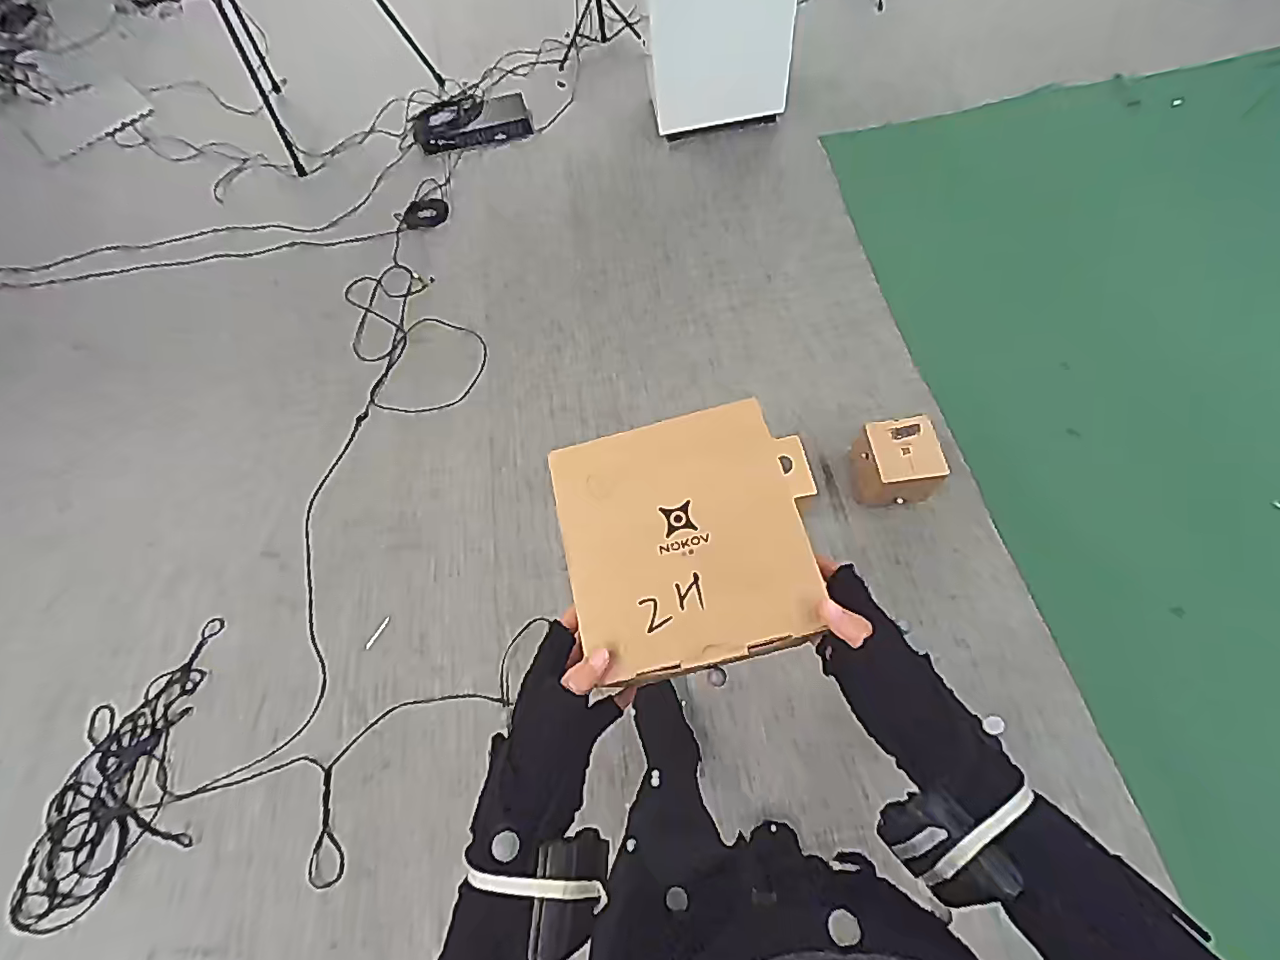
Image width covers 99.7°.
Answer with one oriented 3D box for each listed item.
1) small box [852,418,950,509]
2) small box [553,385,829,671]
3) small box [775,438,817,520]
[{"bbox_3d":[0.678,-0.040,1.430,0.168,0.176,0.179,-8,64,4],"label":"small box"},{"bbox_3d":[0.037,0.052,0.457,0.168,0.176,0.179,-15,67,3],"label":"small box"},{"bbox_3d":[0.357,0.015,1.445,0.168,0.176,0.179,-11,62,2],"label":"small box"}]
